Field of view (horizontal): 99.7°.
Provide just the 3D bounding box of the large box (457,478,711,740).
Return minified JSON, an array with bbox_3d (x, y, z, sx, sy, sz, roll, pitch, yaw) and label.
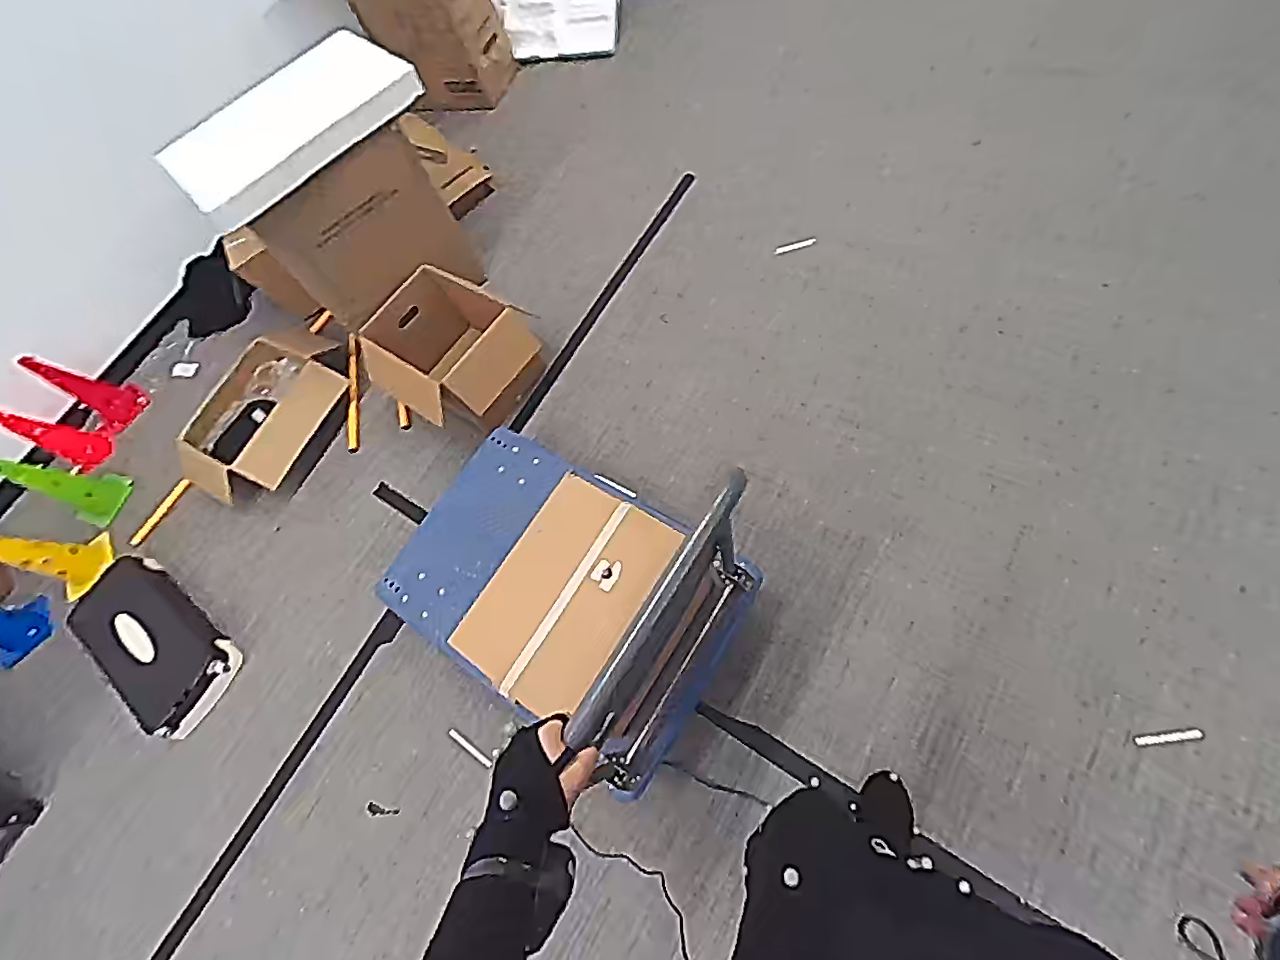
[{"bbox_3d":[-0.092,0.280,1.145,0.320,0.320,0.408,27,75,23],"label":"large box"}]
